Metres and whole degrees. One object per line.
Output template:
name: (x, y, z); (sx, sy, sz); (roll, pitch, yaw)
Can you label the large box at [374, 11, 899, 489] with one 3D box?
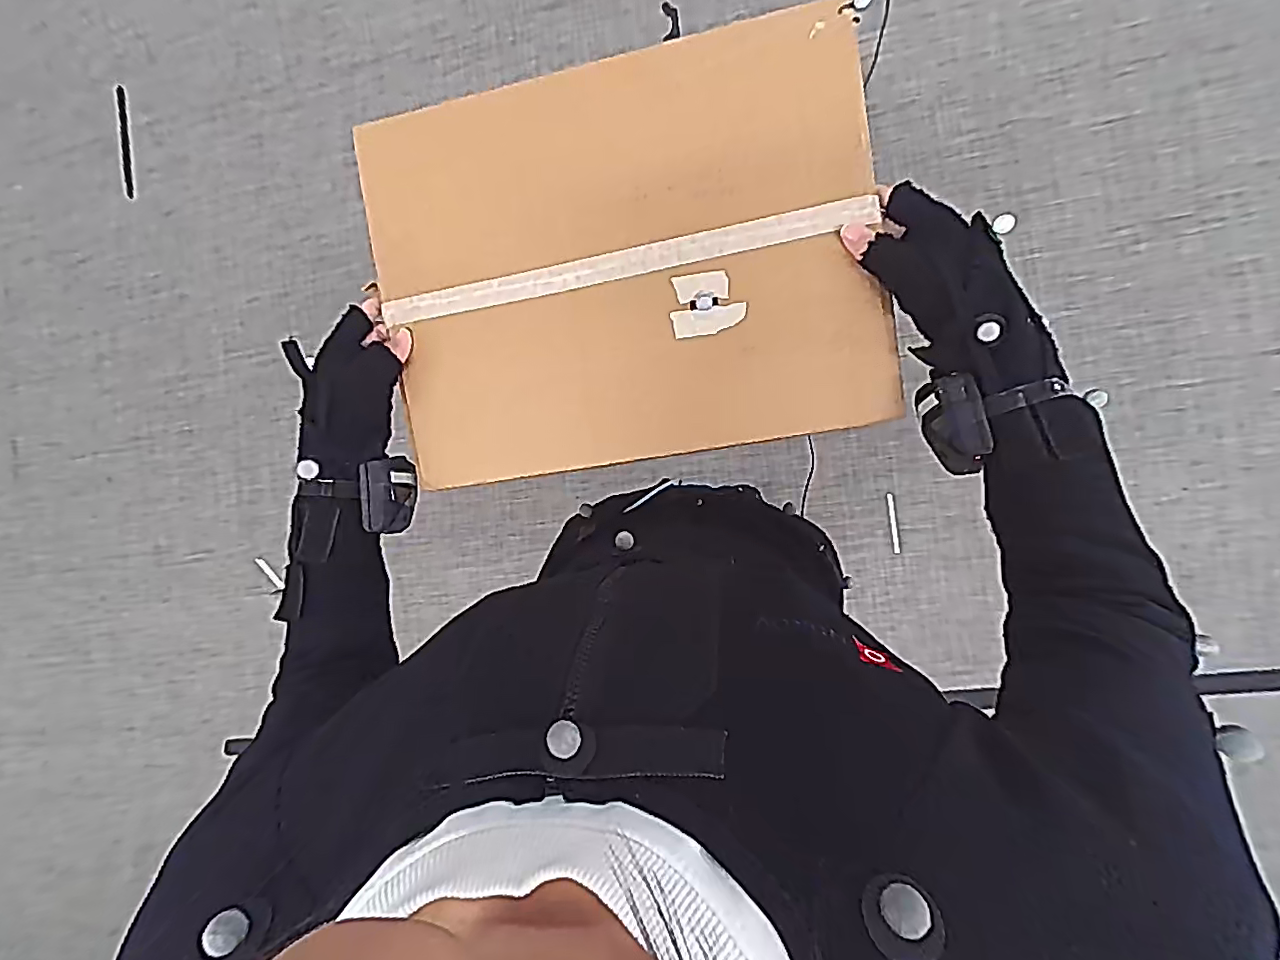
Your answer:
large box: (0.005, -0.186, 0.594); (0.408, 0.320, 0.320); (-9, 94, 8)
